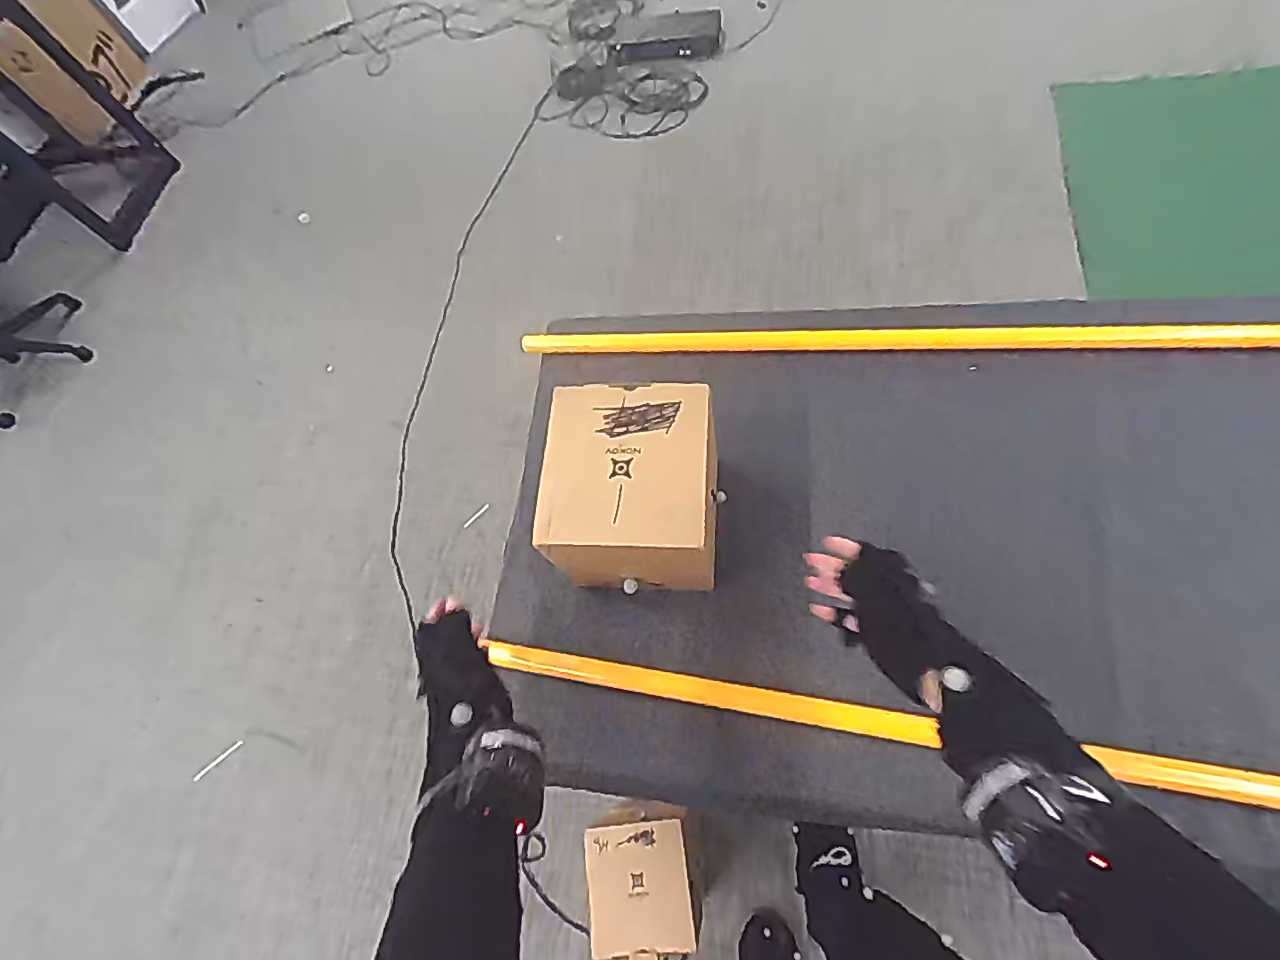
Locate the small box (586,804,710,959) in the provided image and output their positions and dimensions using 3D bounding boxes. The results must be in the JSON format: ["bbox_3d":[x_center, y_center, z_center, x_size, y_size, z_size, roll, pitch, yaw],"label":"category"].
[{"bbox_3d":[0.018,0.679,0.929,0.168,0.176,0.179,-14,63,7],"label":"small box"}]

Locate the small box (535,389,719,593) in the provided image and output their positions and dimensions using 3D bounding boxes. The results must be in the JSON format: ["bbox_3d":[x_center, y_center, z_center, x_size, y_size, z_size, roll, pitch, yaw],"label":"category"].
[{"bbox_3d":[0.000,0.018,0.603,0.168,0.176,0.179,0,66,11],"label":"small box"}]
